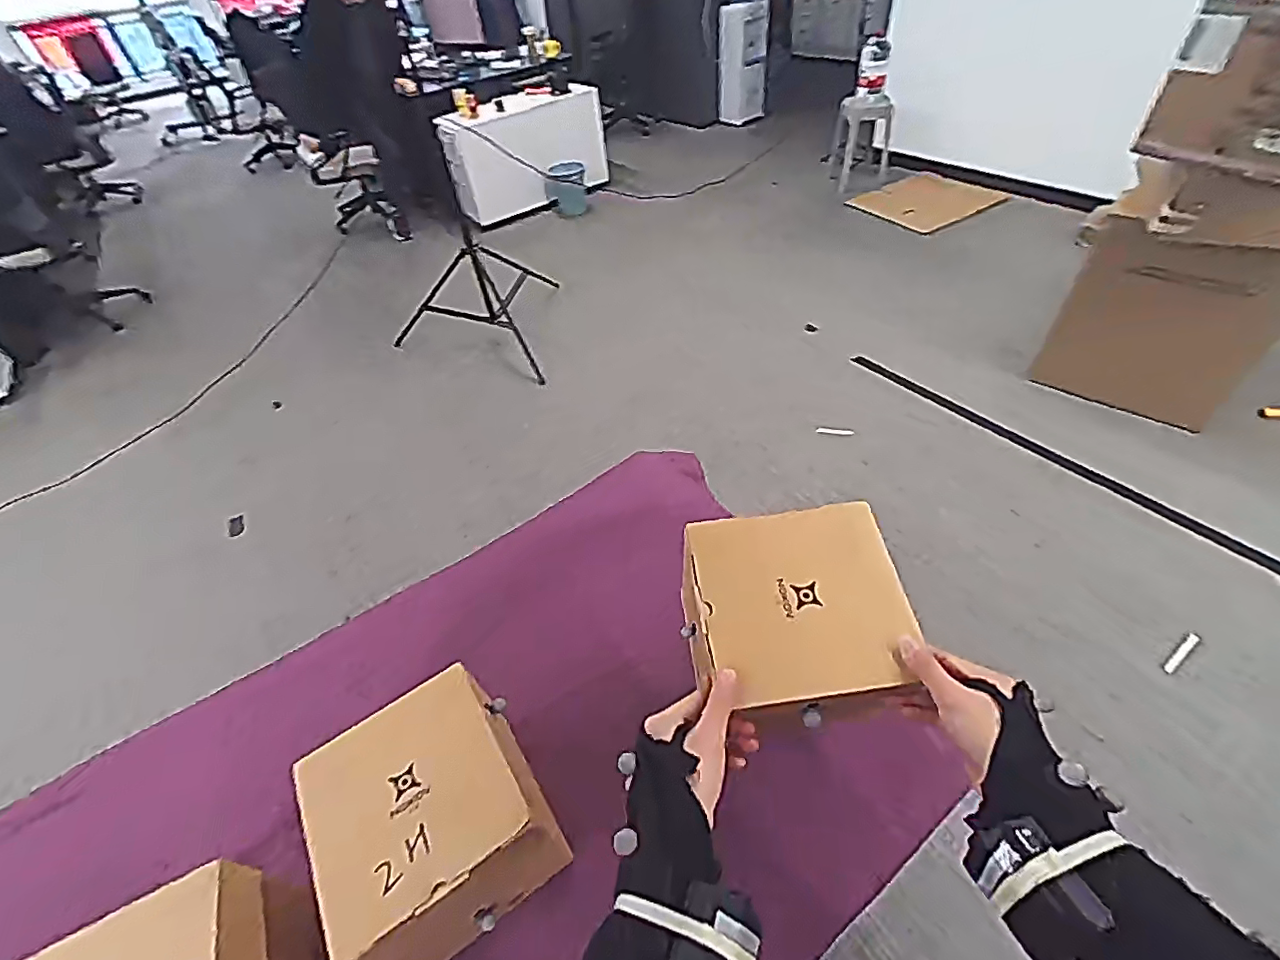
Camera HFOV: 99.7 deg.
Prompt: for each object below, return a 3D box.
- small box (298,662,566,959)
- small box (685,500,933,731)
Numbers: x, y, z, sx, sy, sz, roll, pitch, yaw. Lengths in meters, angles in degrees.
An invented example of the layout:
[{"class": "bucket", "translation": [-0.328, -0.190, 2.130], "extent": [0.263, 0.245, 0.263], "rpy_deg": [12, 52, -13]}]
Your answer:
[{"class": "small box", "translation": [-0.193, 0.323, 0.528], "extent": [0.168, 0.176, 0.179], "rpy_deg": [-30, 50, -19]}, {"class": "small box", "translation": [0.142, 0.139, 0.532], "extent": [0.179, 0.176, 0.168], "rpy_deg": [-8, 58, 0]}]
